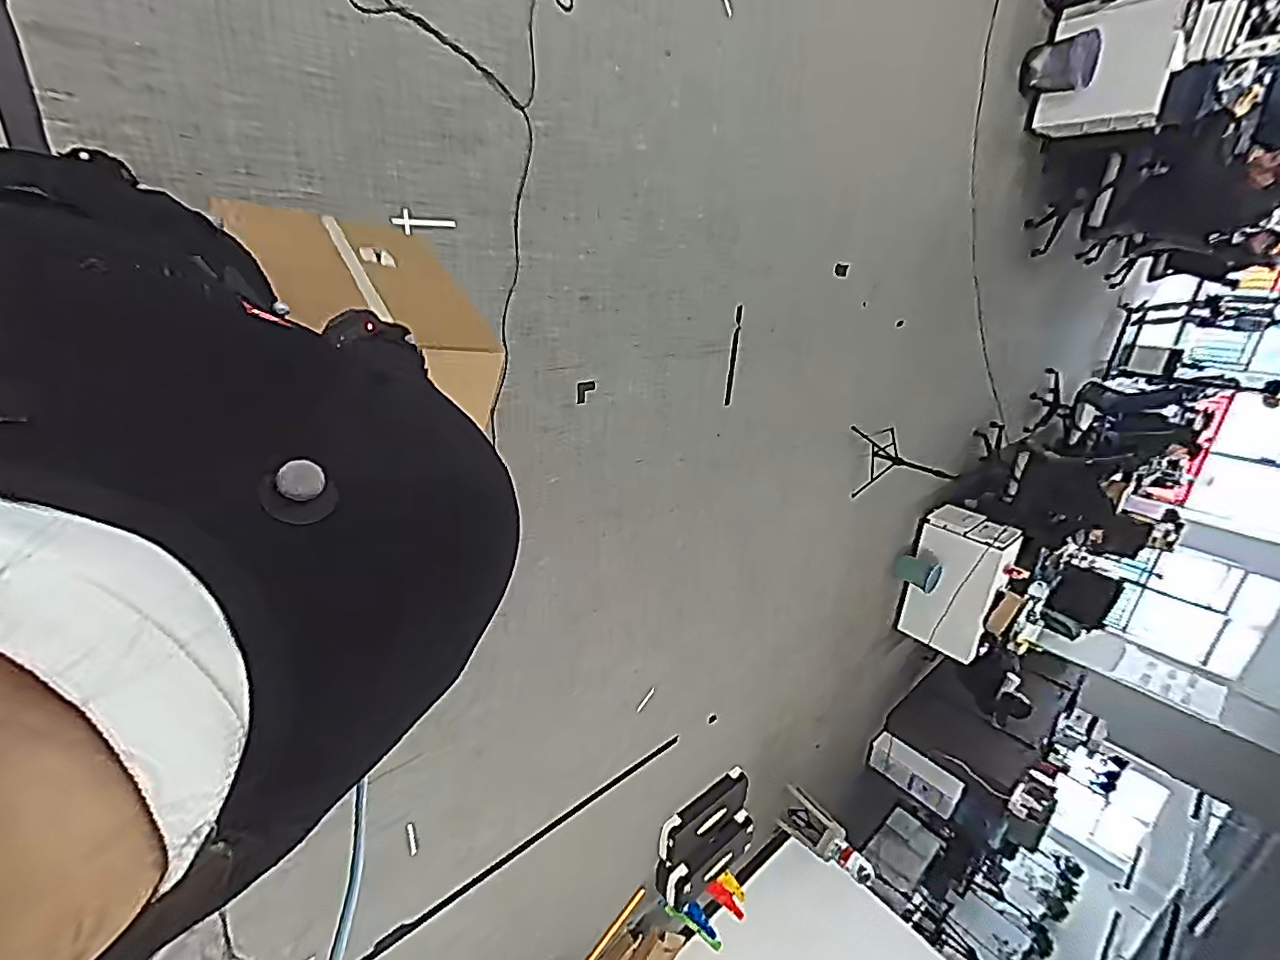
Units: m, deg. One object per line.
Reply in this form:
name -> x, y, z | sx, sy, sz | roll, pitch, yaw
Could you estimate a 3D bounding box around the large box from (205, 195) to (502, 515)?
large box -> -0.478, -0.206, 0.891 | 0.320, 0.408, 0.320 | -9, 138, -41
